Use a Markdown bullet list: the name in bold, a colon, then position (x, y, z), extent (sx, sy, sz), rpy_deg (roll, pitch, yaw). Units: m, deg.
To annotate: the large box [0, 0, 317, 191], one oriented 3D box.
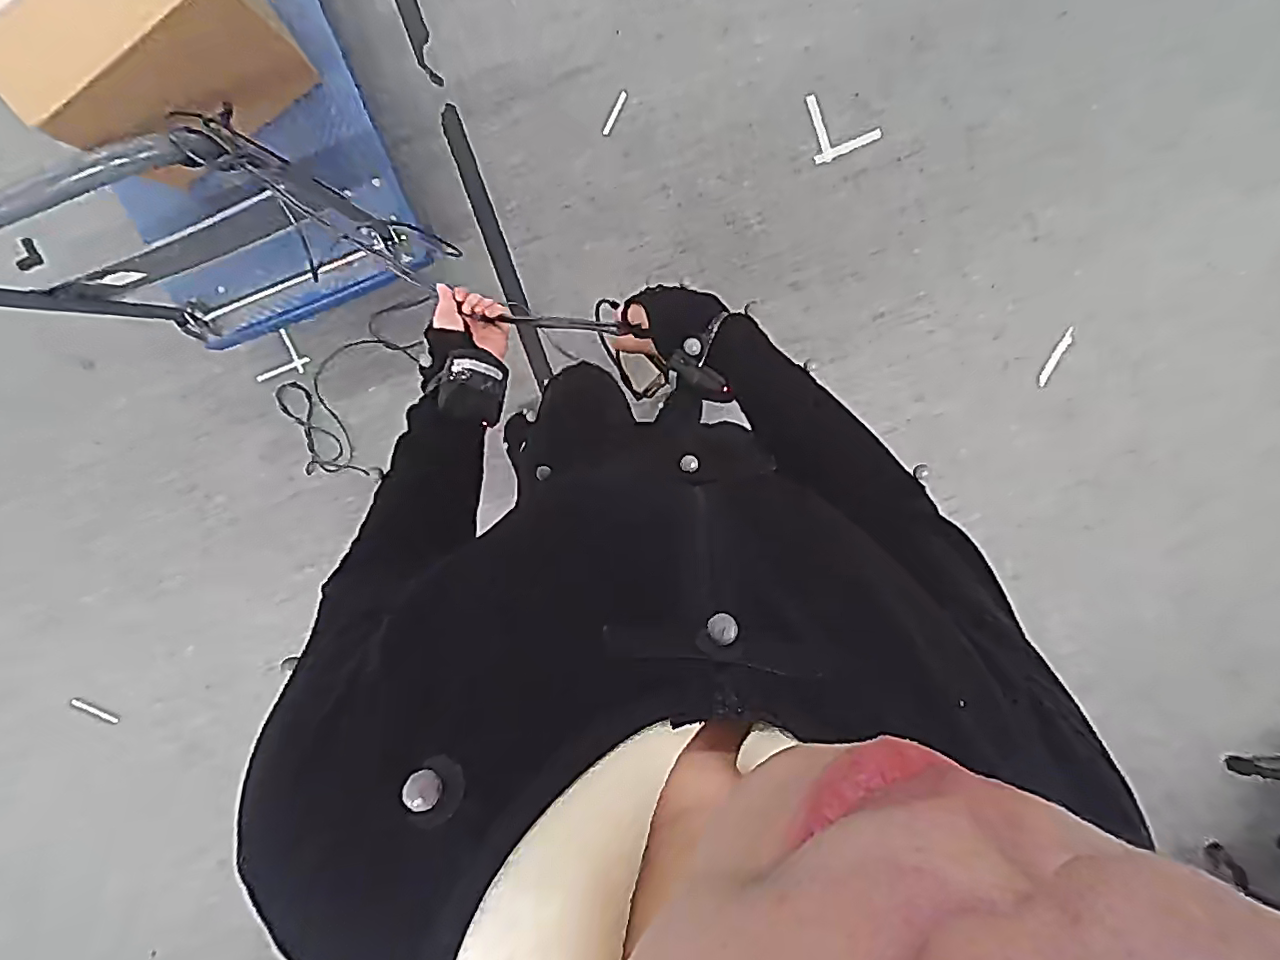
- **large box**: position (-0.919, -0.829, 0.987), extent (0.408, 0.320, 0.320), rpy_deg (-35, 100, 4)
